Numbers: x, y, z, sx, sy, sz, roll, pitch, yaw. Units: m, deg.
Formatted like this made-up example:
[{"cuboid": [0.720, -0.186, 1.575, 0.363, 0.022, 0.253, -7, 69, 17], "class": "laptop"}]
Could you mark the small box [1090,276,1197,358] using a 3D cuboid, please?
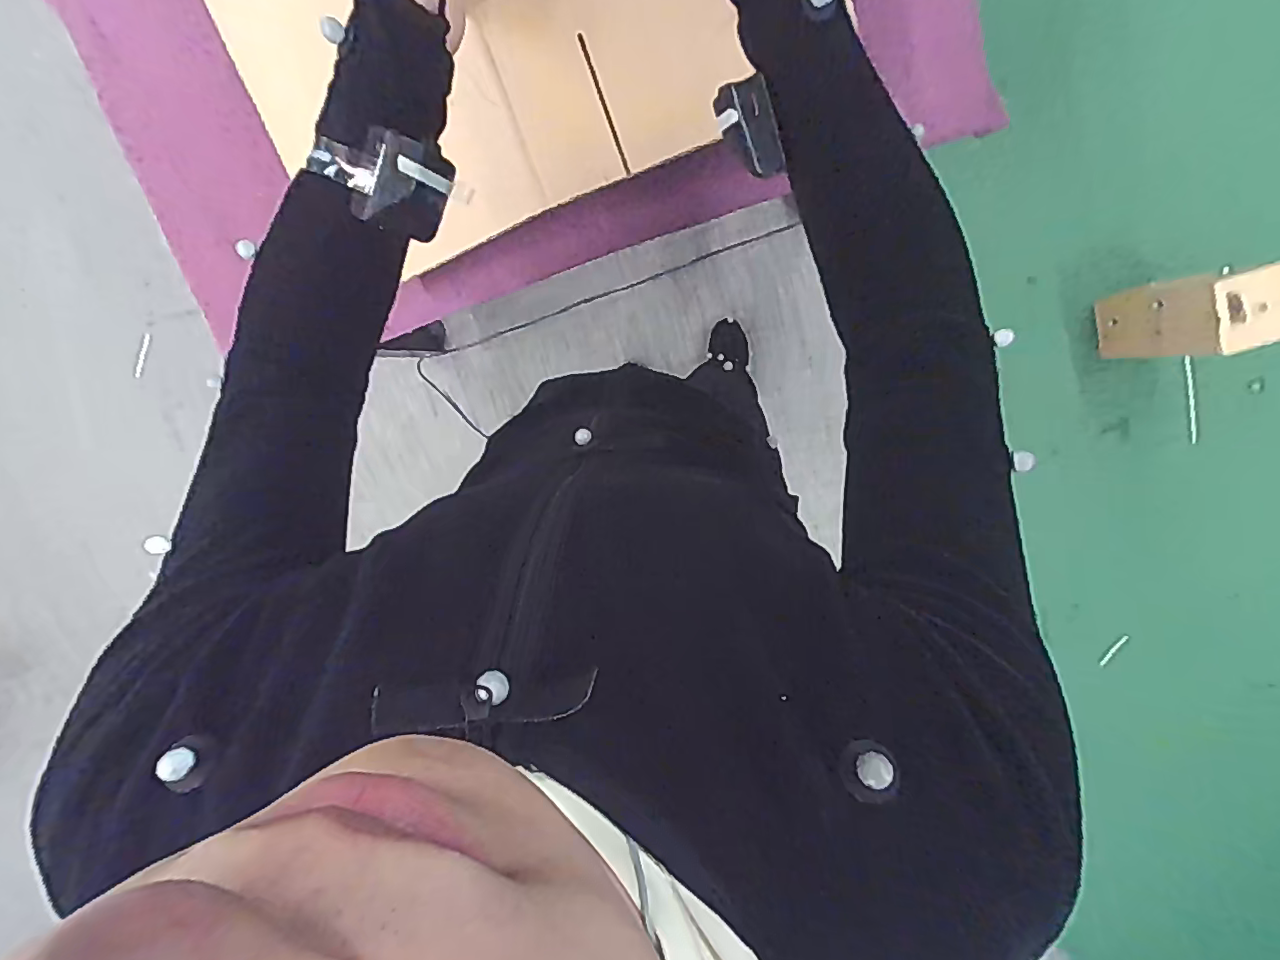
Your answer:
[{"cuboid": [1.350, -0.428, 1.429, 0.179, 0.176, 0.168, -17, 101, 5], "class": "small box"}]

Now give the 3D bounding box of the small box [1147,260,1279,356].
[{"cuboid": [1.346, -0.395, 1.269, 0.179, 0.176, 0.168, -17, 101, 4], "class": "small box"}]
